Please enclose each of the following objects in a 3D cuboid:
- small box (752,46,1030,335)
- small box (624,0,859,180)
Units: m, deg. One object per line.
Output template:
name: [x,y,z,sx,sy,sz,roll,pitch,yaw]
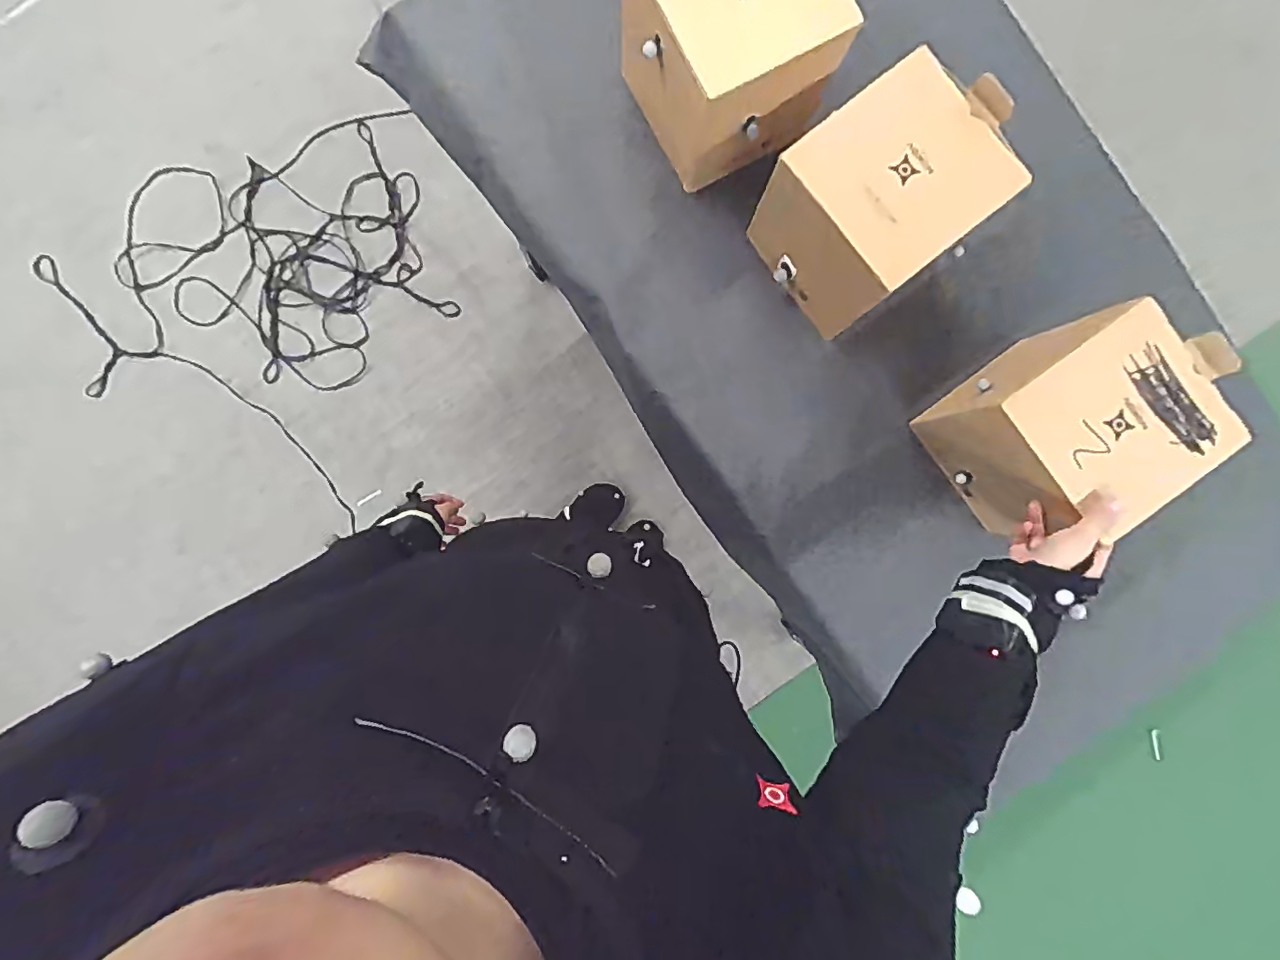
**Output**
small box: [0.246,-0.288,0.580,0.179,0.176,0.168,-39,89,-2]
small box: [0.093,-0.460,0.578,0.168,0.176,0.179,-28,90,-2]
